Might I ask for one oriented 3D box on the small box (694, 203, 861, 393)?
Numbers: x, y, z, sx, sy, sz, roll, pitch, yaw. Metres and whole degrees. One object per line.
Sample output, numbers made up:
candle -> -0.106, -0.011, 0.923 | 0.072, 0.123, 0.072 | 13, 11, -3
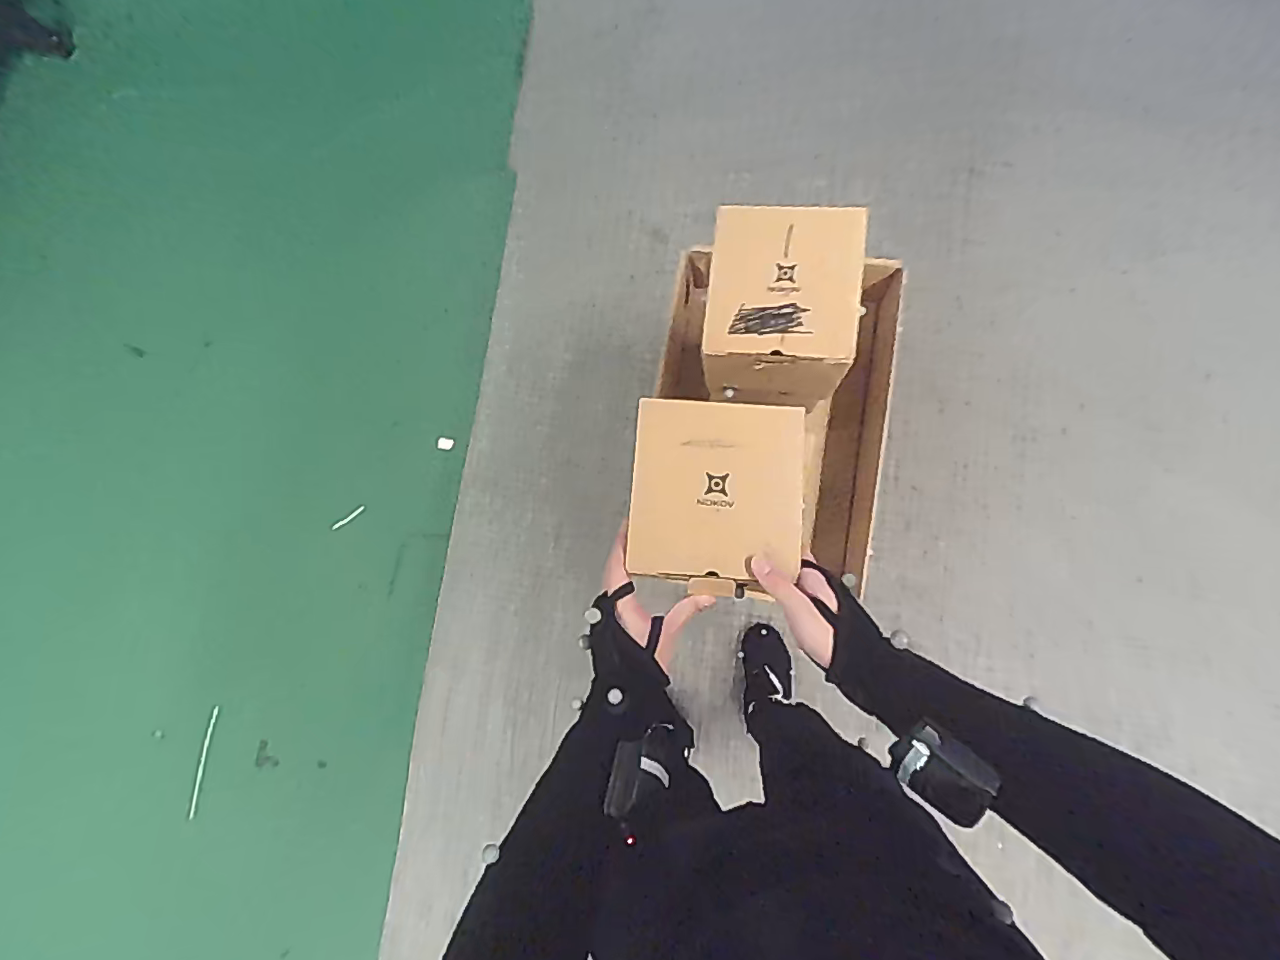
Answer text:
small box -> 0.165, -0.214, 0.674 | 0.168, 0.176, 0.179 | 6, 85, 10

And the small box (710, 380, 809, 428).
small box -> 0.224, -0.205, 0.998 | 0.168, 0.176, 0.179 | 8, 86, 11
